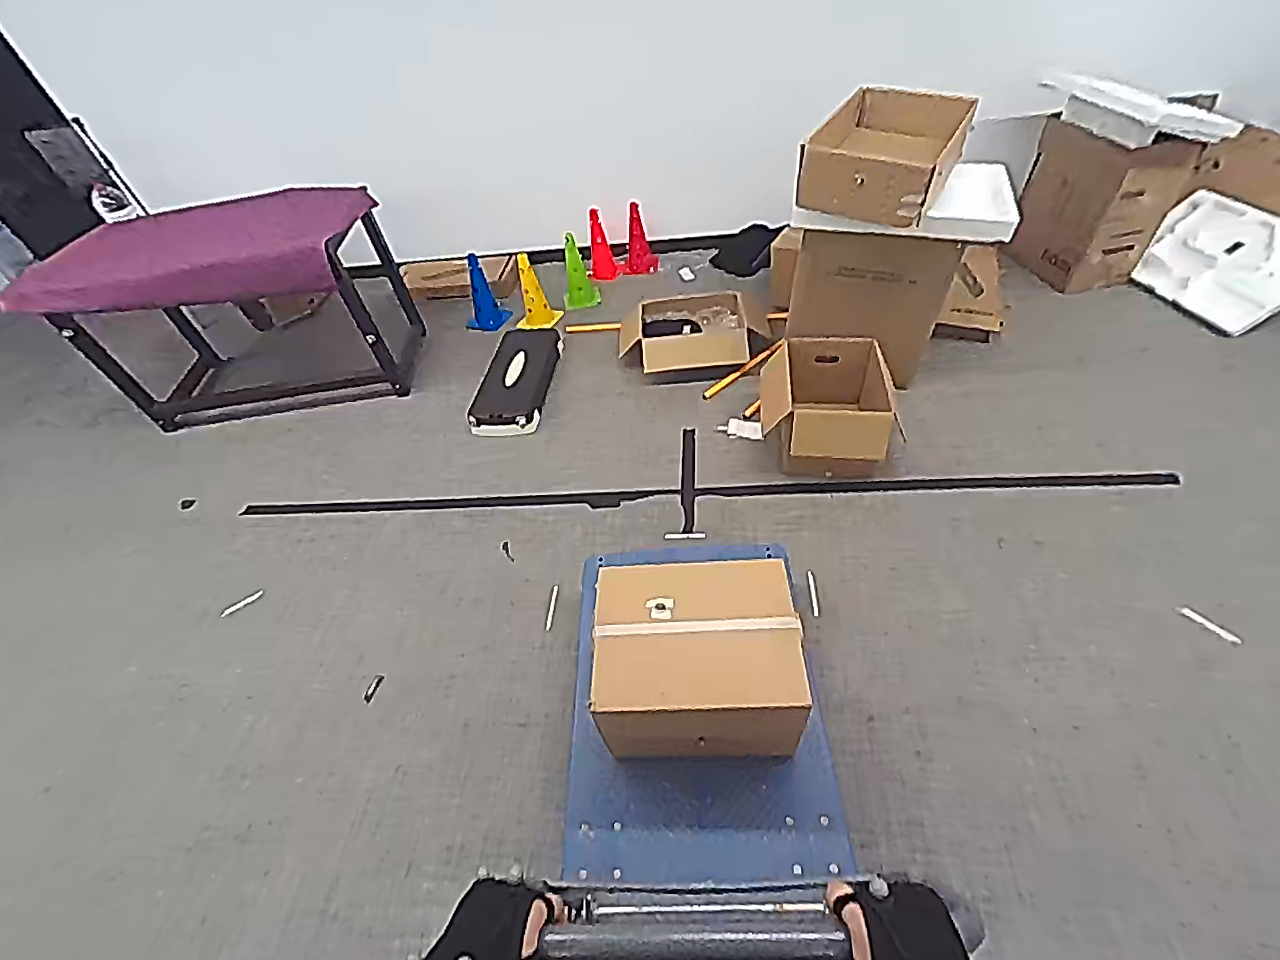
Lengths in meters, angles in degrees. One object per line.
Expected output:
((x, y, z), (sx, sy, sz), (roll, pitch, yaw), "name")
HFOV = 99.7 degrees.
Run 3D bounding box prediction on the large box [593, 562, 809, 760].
((0.127, 0.408, 1.199), (0.408, 0.320, 0.320), (-5, 47, 5), "large box")
